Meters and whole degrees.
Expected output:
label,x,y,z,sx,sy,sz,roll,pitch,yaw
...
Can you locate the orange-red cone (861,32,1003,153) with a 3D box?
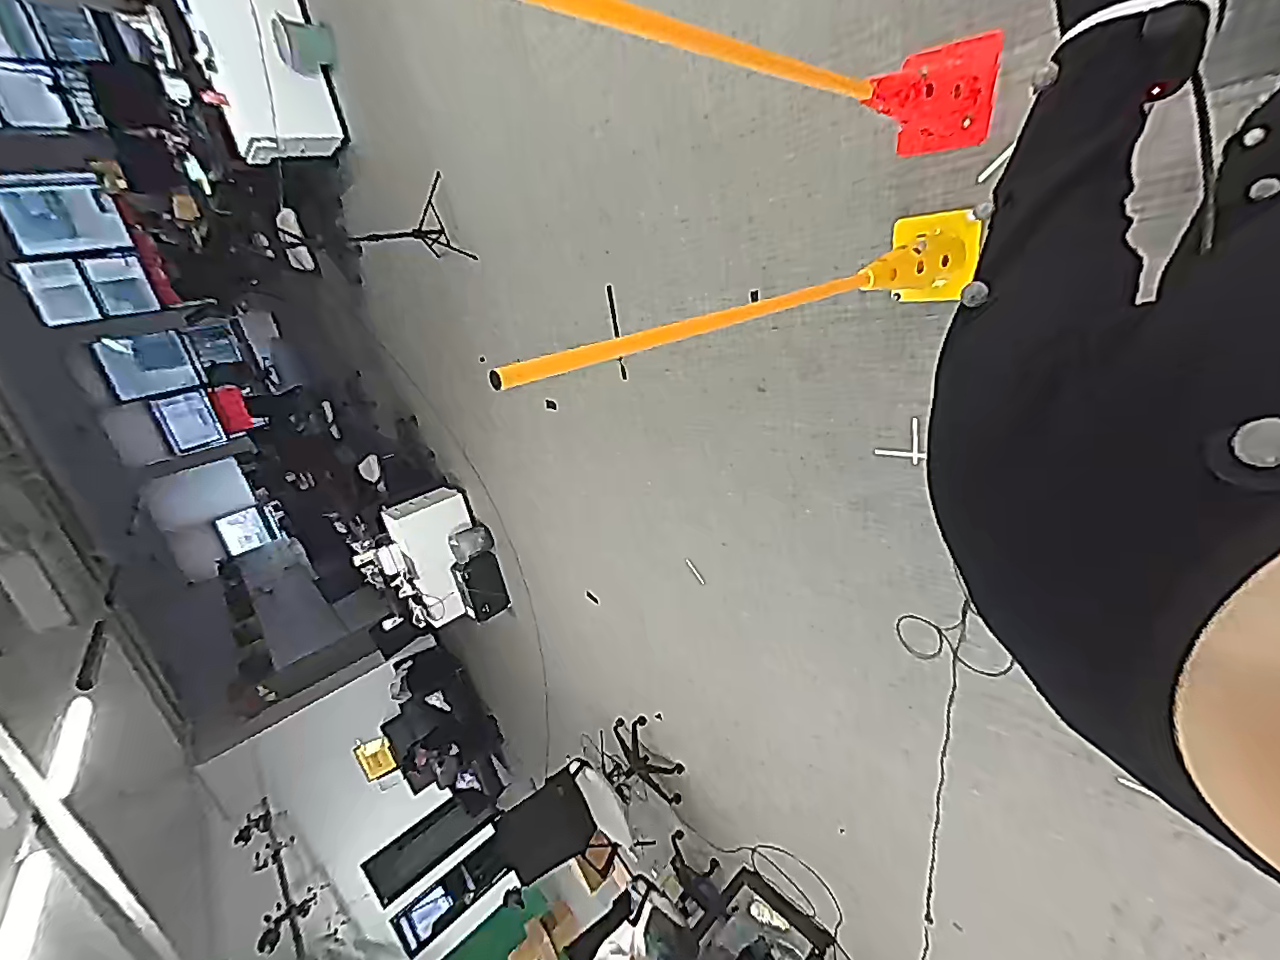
label,x,y,z,sx,sy,sz,roll,pitch,yaw
orange-red cone,0.547,-0.782,1.087,0.198,0.360,0.199,21,126,43
